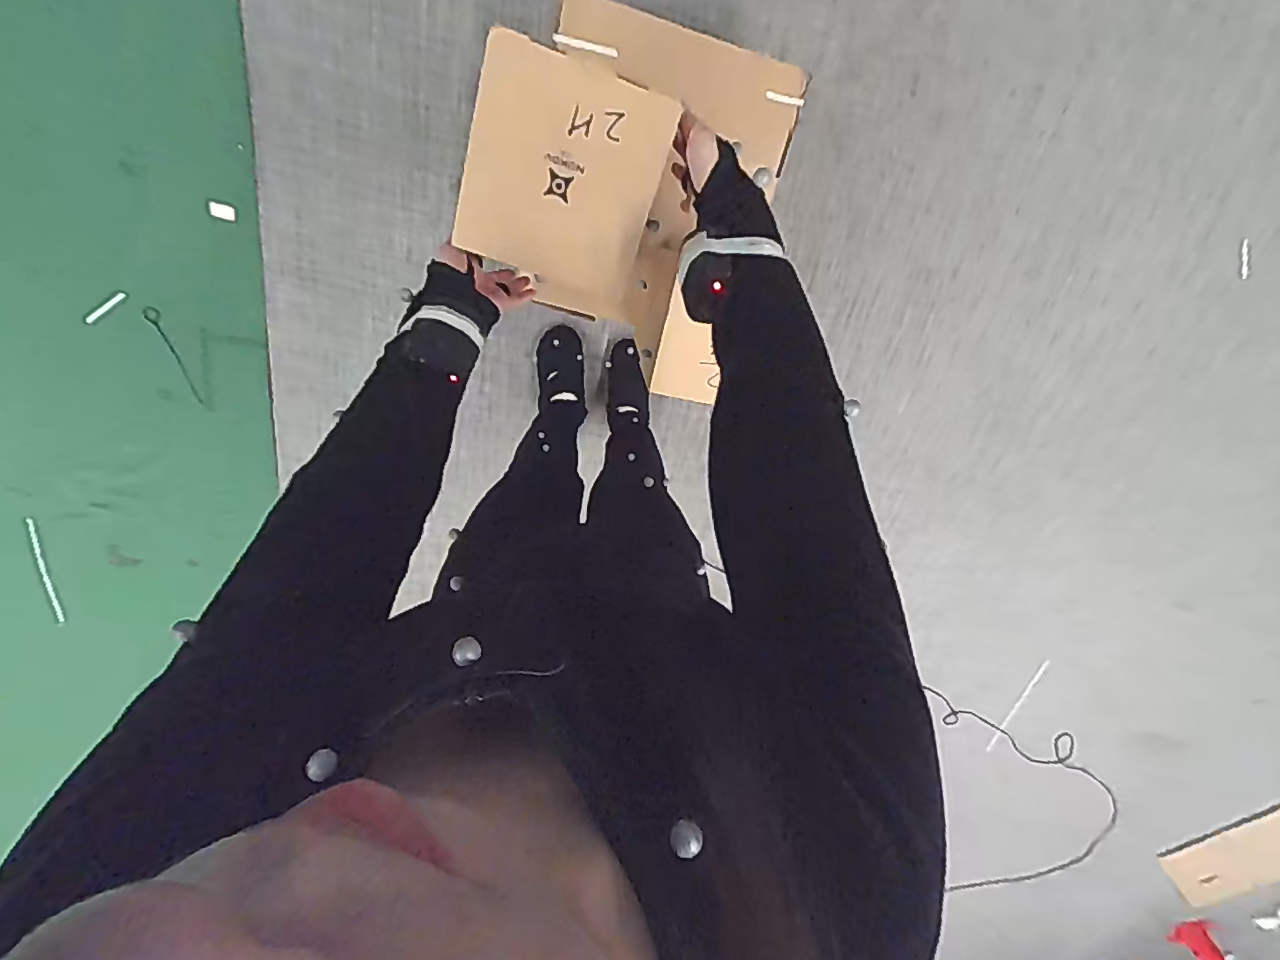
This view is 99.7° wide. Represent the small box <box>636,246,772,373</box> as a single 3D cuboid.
[{"bbox_3d":[0.098,-0.298,0.926,0.179,0.176,0.168,9,114,-9],"label":"small box"}]
